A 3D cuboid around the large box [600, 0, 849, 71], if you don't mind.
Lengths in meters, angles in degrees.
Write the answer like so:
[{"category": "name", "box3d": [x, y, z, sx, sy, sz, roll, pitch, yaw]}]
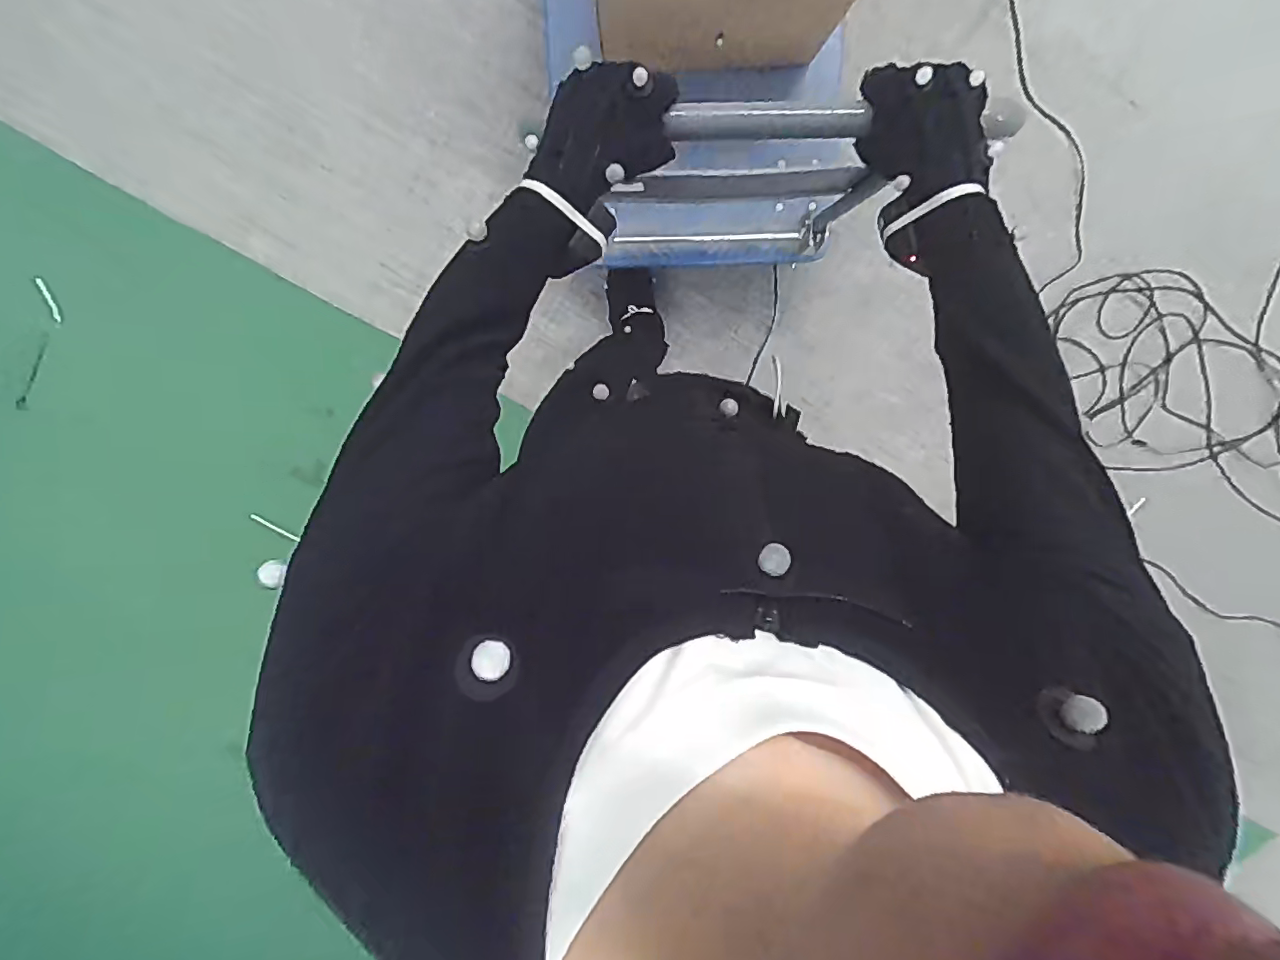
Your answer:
[{"category": "large box", "box3d": [0.131, -0.912, 0.874, 0.408, 0.320, 0.320, -3, 107, 1]}]
